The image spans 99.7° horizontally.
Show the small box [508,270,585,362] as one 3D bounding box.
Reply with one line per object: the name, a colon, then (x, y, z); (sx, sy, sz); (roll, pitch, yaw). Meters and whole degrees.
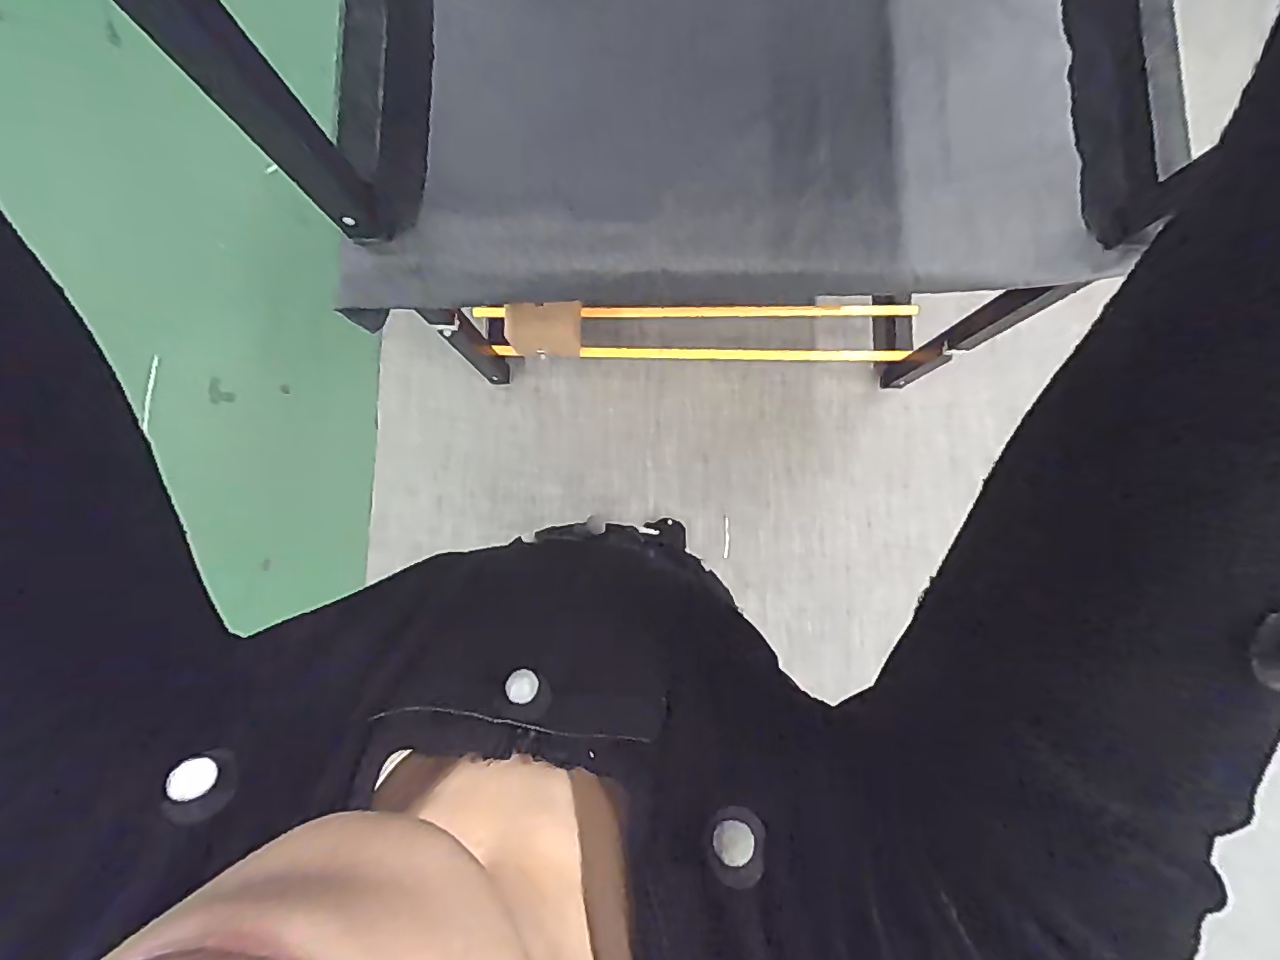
small box: (-0.232, -0.412, 1.375); (0.168, 0.176, 0.179); (0, 86, 1)
